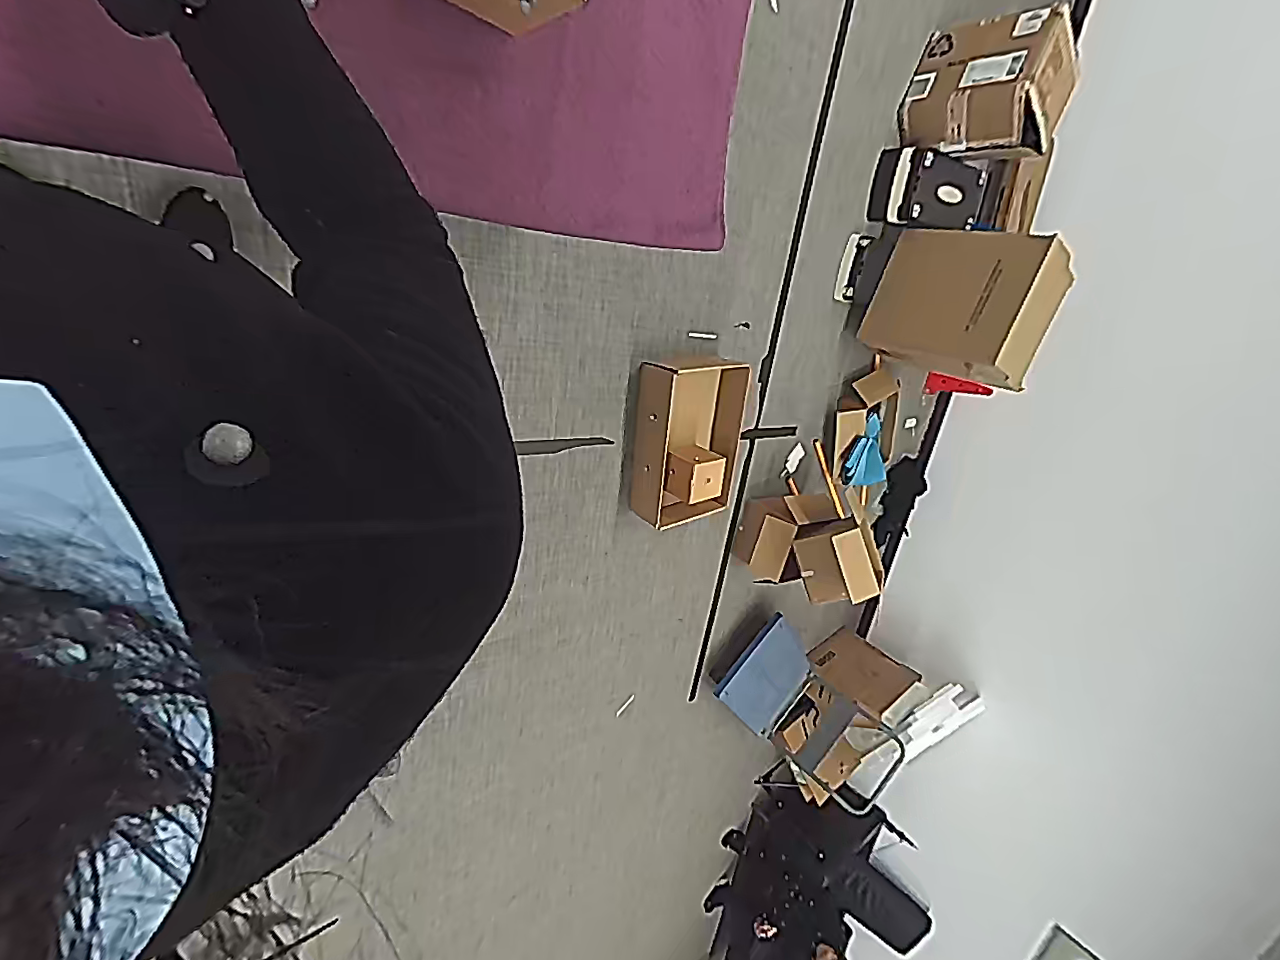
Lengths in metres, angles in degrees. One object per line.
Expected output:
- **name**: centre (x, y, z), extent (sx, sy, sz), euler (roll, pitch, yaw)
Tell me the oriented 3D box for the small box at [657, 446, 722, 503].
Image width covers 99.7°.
- **small box**: centre (0.194, -0.028, 2.139), extent (0.179, 0.176, 0.168), euler (-13, 119, -37)
